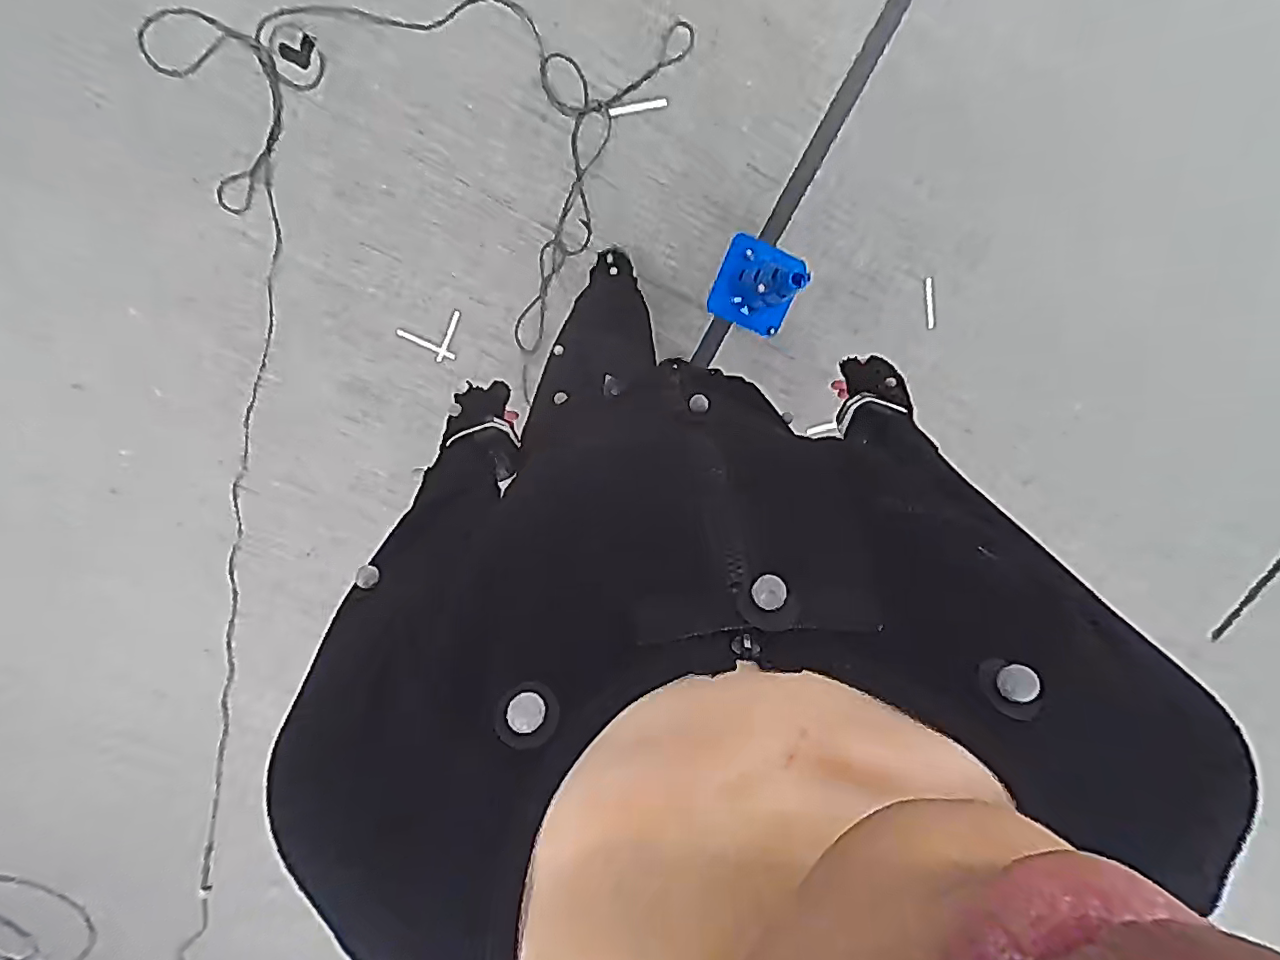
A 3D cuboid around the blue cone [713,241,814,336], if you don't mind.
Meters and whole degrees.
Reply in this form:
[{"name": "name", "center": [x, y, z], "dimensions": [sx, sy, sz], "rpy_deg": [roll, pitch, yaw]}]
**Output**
[{"name": "blue cone", "center": [0.296, -0.430, 1.197], "dimensions": [0.192, 0.380, 0.193], "rpy_deg": [22, 105, -9]}]
